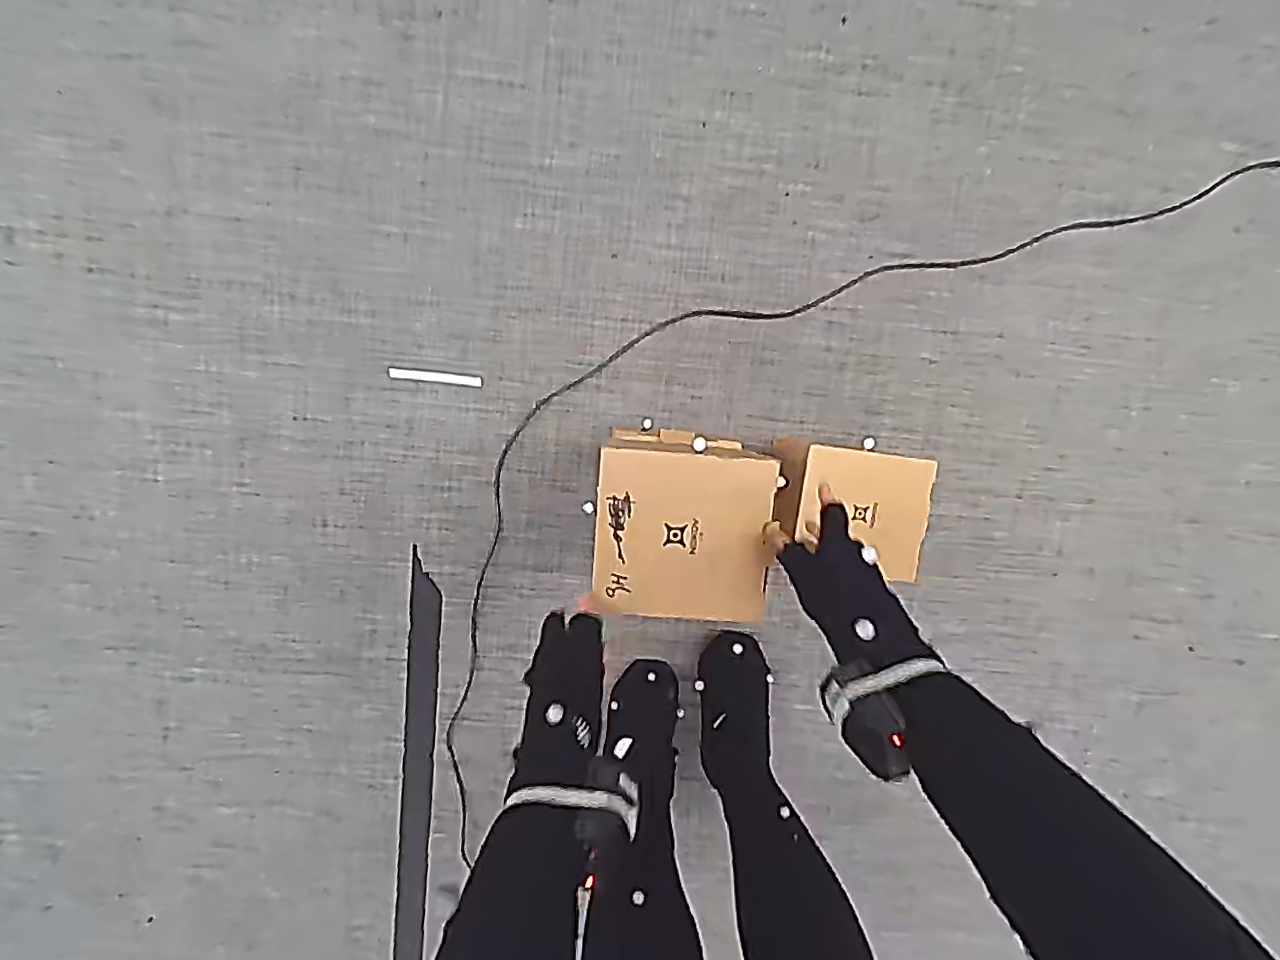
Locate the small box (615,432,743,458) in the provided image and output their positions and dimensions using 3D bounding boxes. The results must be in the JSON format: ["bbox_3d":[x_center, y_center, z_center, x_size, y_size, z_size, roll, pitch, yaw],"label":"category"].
[{"bbox_3d":[0.039,0.026,0.773,0.168,0.176,0.179,5,98,-2],"label":"small box"}]

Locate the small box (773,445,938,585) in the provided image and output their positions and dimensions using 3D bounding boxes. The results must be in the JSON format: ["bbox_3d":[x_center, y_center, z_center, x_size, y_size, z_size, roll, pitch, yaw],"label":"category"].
[{"bbox_3d":[0.289,0.041,0.787,0.179,0.176,0.168,7,97,-4],"label":"small box"}]

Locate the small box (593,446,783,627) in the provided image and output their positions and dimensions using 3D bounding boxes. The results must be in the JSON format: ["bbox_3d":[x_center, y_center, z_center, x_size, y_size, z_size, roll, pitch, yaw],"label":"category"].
[{"bbox_3d":[0.043,0.052,0.611,0.179,0.176,0.168,5,97,-2],"label":"small box"}]
